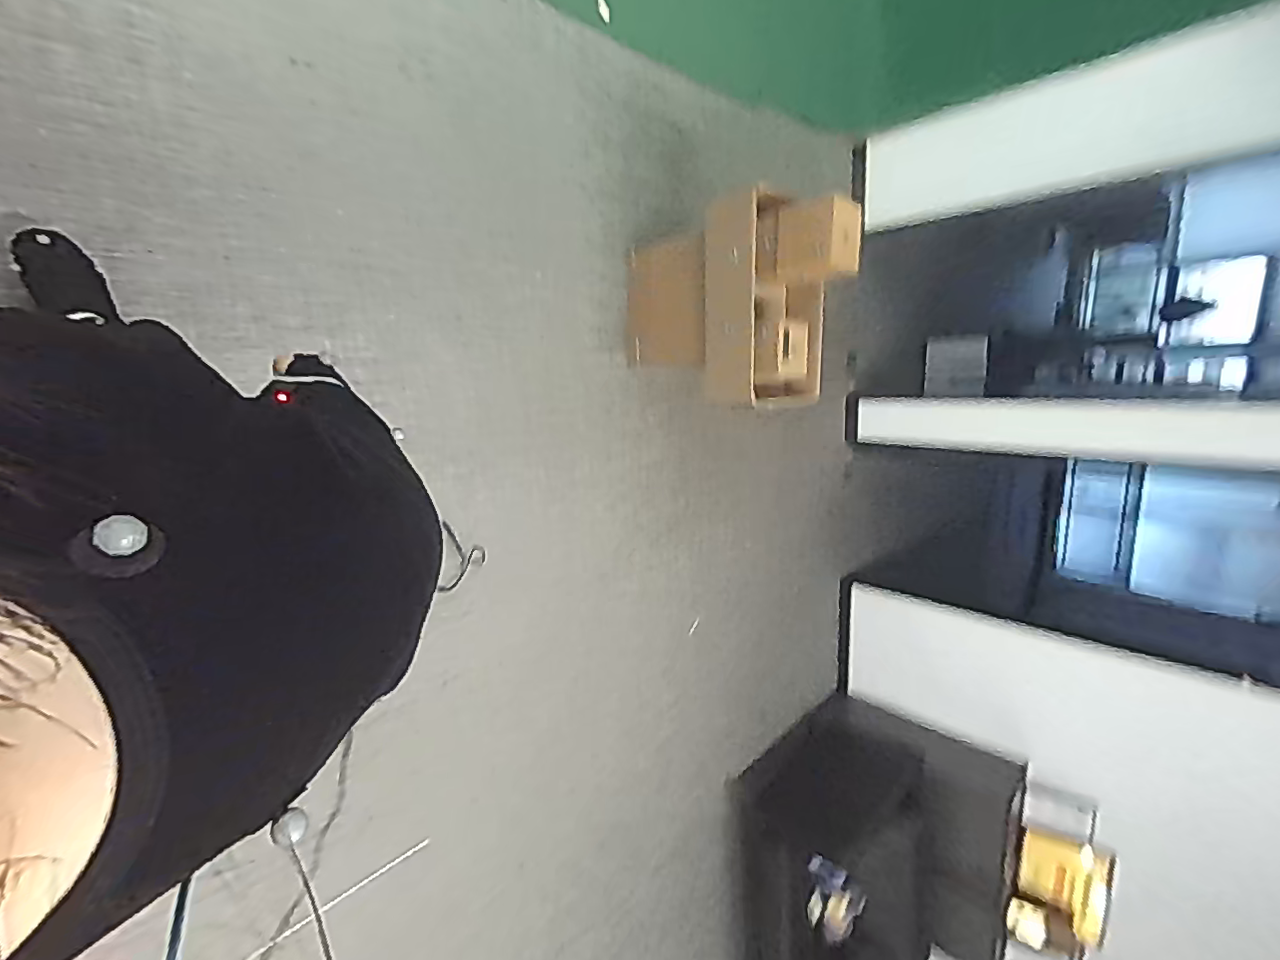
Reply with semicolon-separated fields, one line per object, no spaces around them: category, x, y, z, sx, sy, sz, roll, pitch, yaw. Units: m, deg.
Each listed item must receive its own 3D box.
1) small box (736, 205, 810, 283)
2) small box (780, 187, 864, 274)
small box;0.409;-0.712;1.648;0.168;0.176;0.179;-10;105;-42
small box;0.509;-0.692;1.521;0.168;0.176;0.179;-9;104;-42
